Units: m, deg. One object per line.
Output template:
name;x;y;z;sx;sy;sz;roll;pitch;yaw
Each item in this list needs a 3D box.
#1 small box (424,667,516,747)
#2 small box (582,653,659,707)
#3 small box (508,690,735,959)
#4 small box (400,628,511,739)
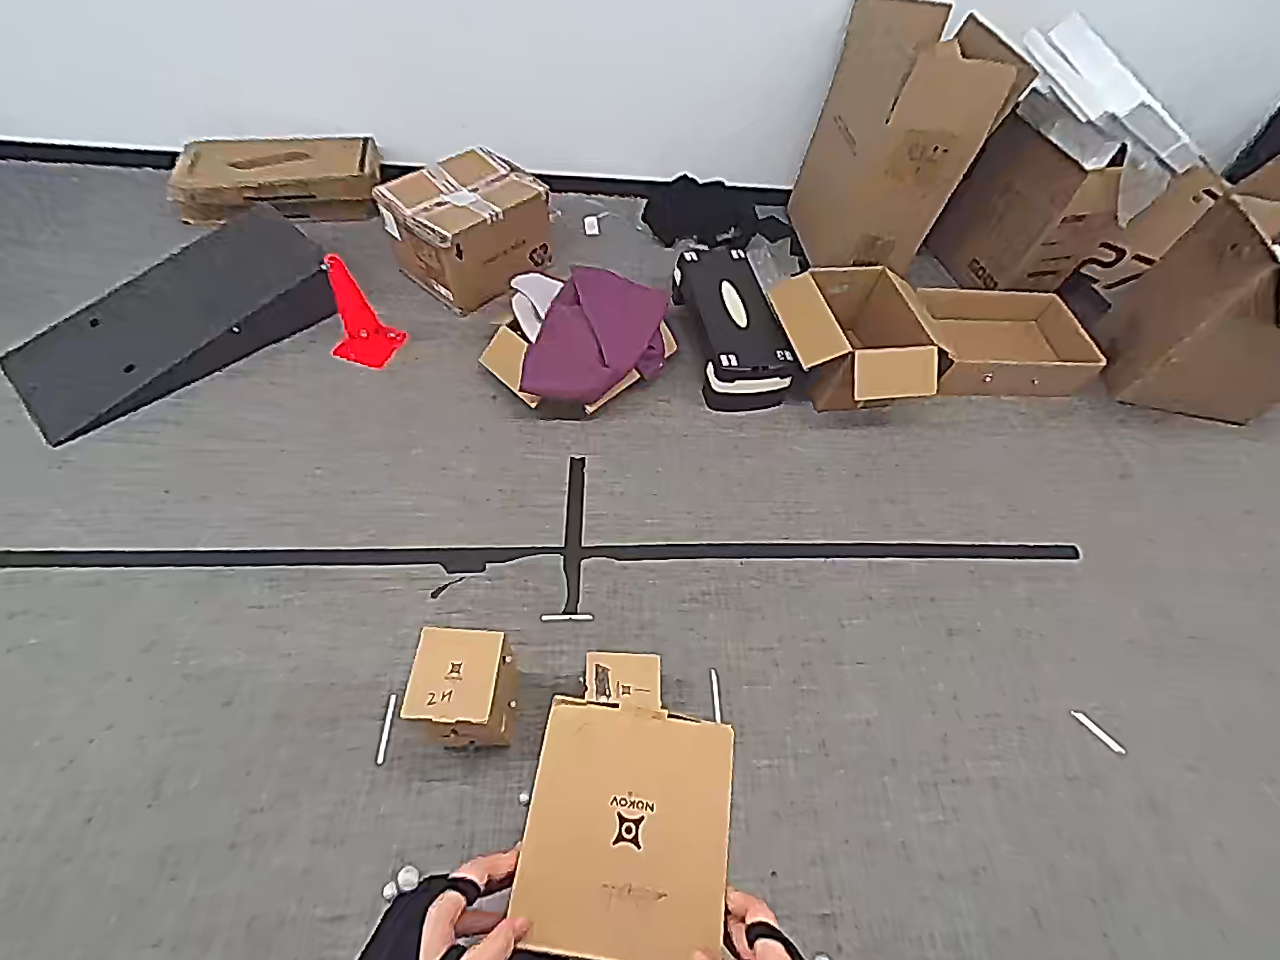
small box;-0.383;0.515;1.253;0.168;0.176;0.179;0;58;-6
small box;-0.050;0.519;1.286;0.179;0.176;0.168;4;57;-5
small box;-0.014;0.314;0.511;0.168;0.176;0.179;10;61;0
small box;-0.368;0.422;1.116;0.168;0.176;0.179;4;57;-2
